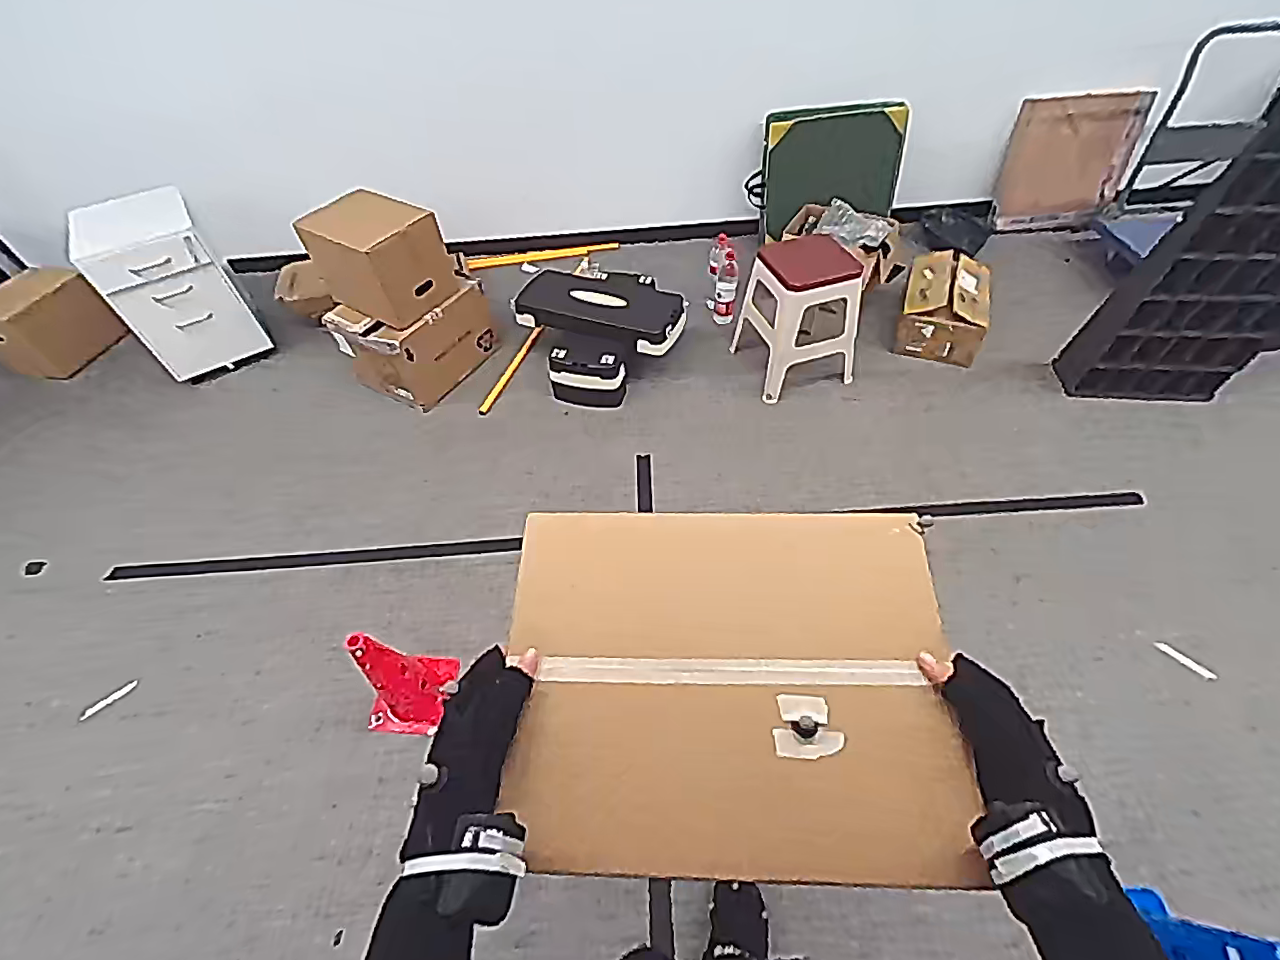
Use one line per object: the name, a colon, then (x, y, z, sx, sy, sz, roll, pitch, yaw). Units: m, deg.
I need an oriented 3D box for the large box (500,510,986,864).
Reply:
large box: (0.086, 0.239, 0.637, 0.408, 0.320, 0.320, 0, 63, 3)

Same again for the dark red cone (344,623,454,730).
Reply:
dark red cone: (-0.612, 0.451, 1.306, 0.201, 0.394, 0.202, 1, 51, 4)

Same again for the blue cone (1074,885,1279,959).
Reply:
blue cone: (0.976, 0.816, 0.941, 0.192, 0.380, 0.193, -1, 51, 2)
